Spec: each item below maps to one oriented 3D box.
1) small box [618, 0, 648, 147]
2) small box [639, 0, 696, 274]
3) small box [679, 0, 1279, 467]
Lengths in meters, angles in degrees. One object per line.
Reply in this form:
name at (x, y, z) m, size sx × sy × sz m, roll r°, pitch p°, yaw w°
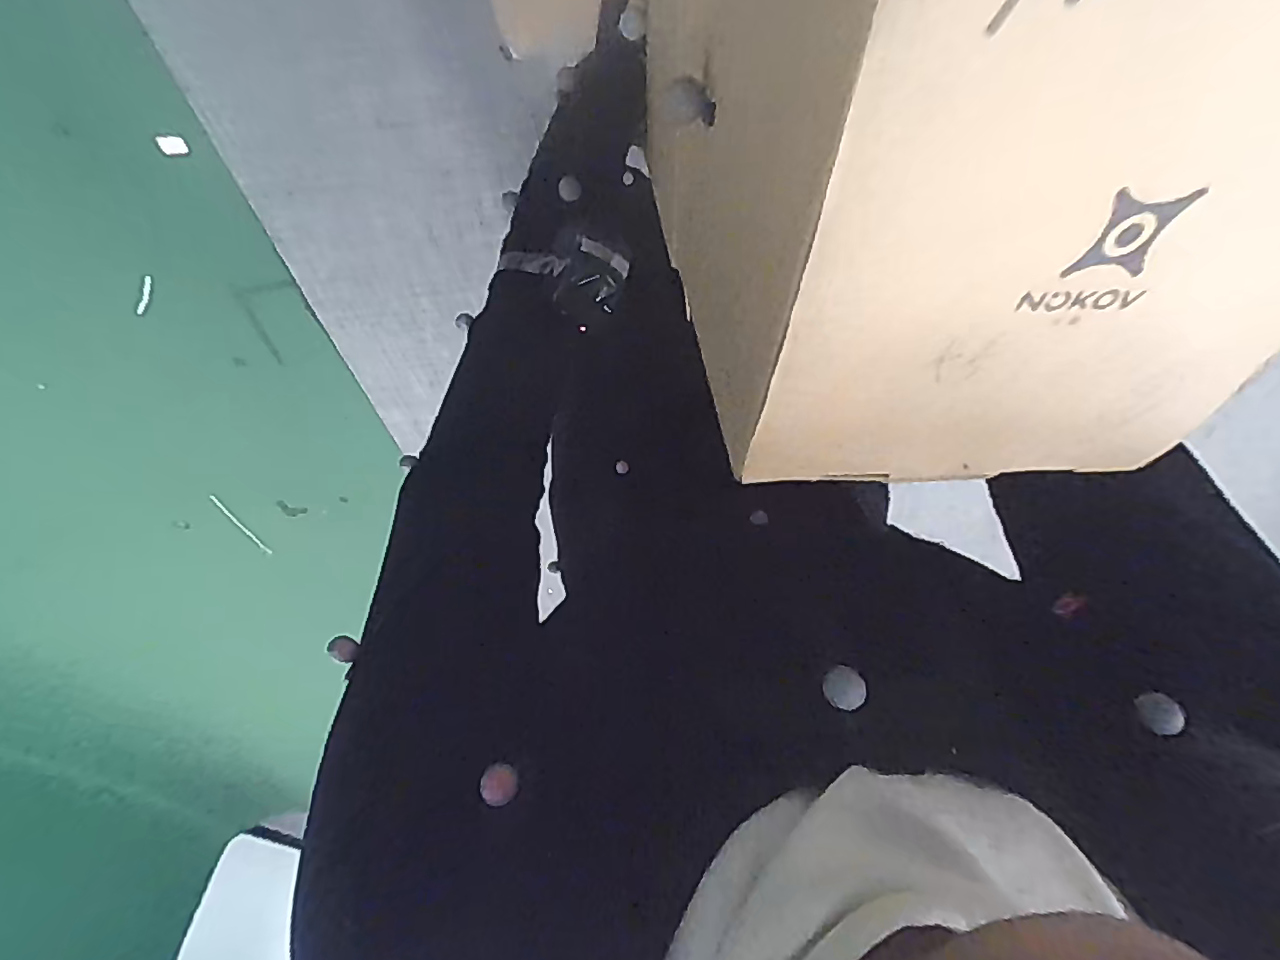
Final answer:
small box at (0.073, -0.374, 0.405) m, size 0.179 × 0.176 × 0.168 m, roll -6°, pitch 142°, yaw -4°
small box at (0.096, -0.244, 0.307) m, size 0.179 × 0.176 × 0.168 m, roll -8°, pitch 141°, yaw 0°
small box at (0.109, -0.124, 0.197) m, size 0.168 × 0.176 × 0.179 m, roll -2°, pitch 142°, yaw -4°
